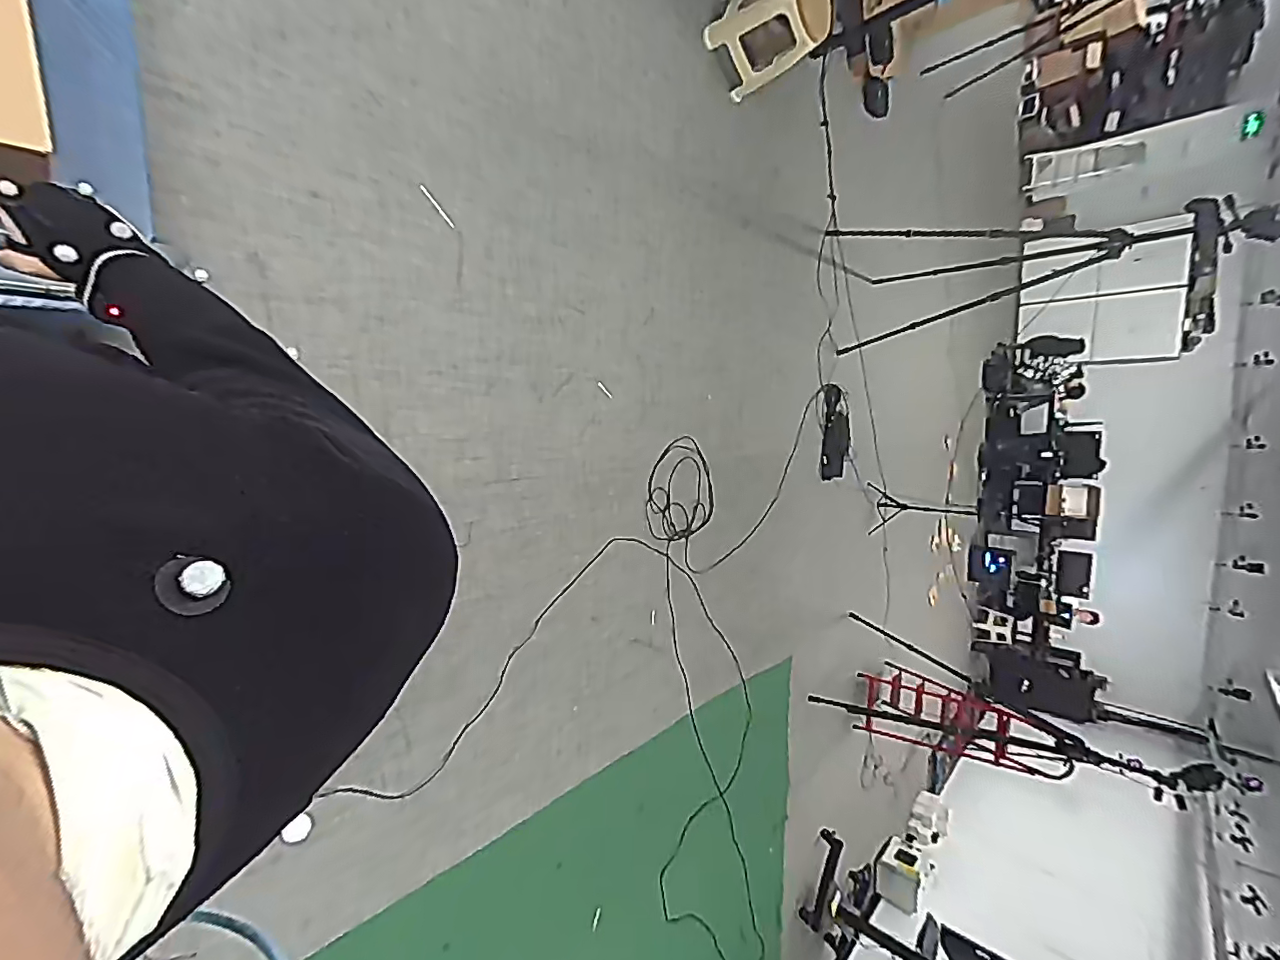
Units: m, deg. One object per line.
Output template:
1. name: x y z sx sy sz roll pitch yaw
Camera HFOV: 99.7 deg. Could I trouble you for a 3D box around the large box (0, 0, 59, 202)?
1. large box: -1.086 -0.668 0.757 0.320 0.320 0.408 -11 102 -45
